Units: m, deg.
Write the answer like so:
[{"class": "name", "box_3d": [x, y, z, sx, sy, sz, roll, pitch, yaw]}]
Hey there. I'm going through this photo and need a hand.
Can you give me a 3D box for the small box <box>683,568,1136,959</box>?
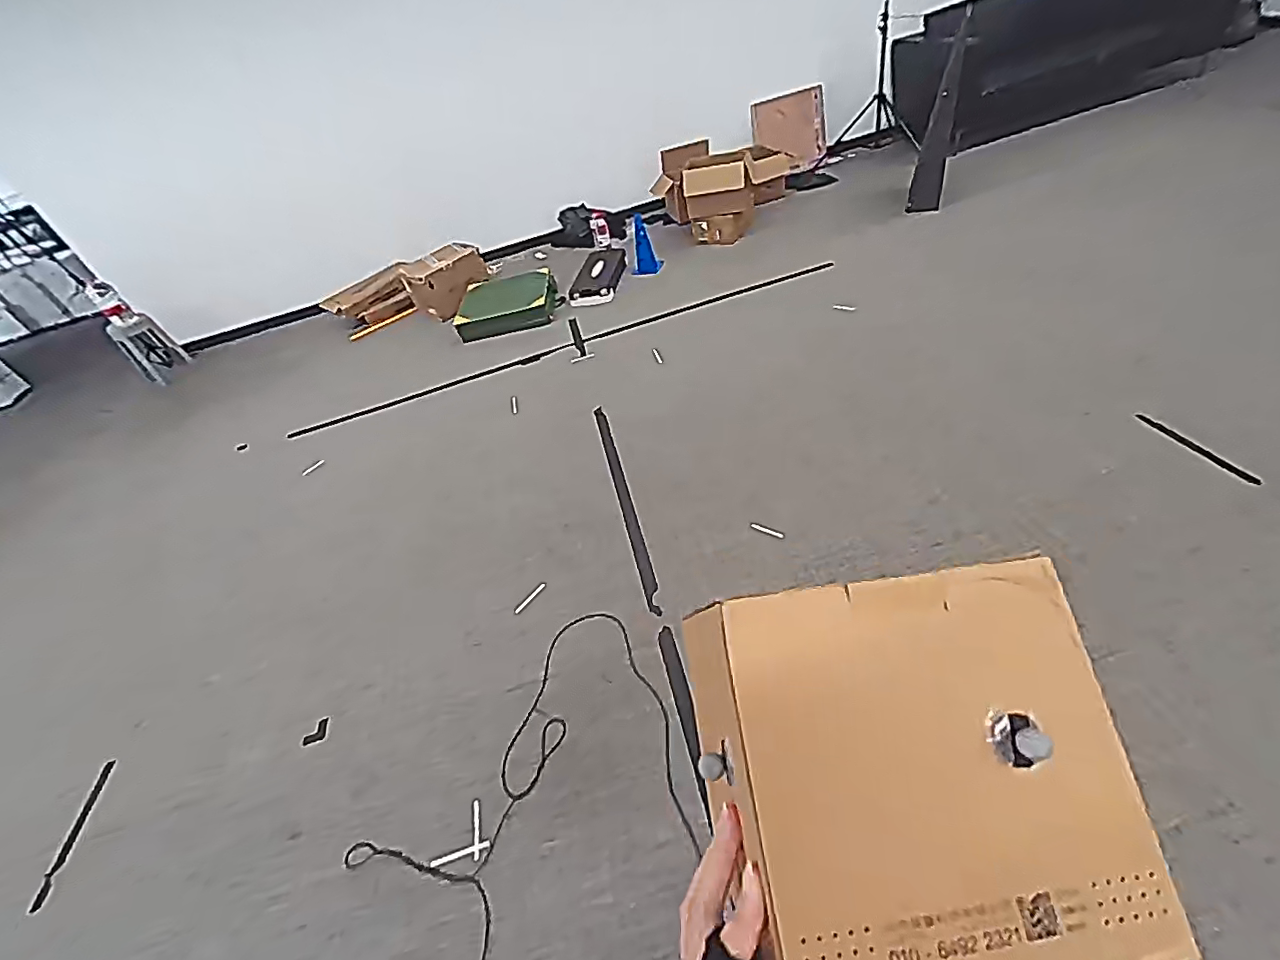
[{"class": "small box", "box_3d": [0.126, 0.159, 0.324, 0.168, 0.179, 0.176, -7, 72, -3]}]
